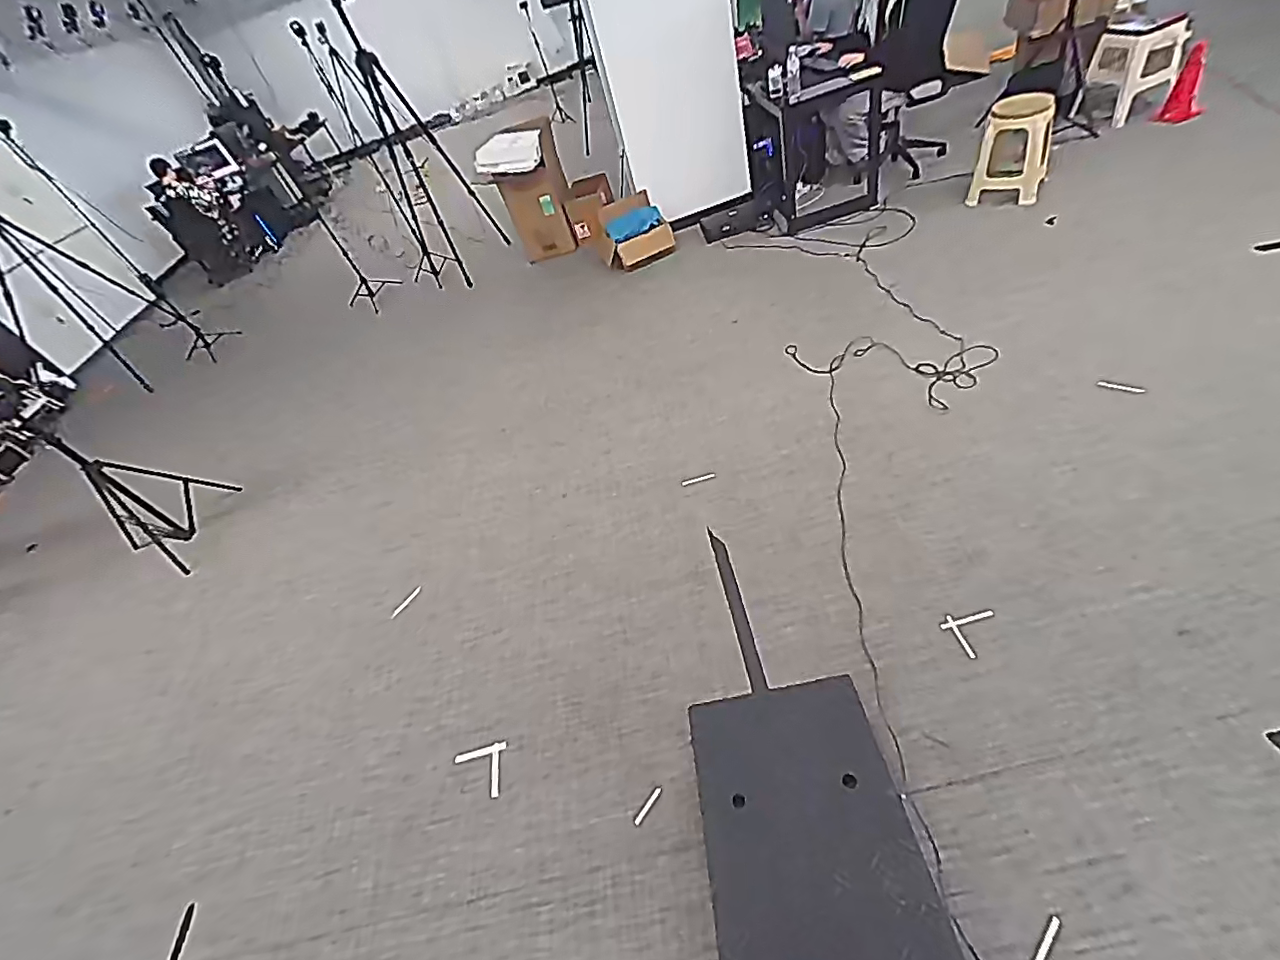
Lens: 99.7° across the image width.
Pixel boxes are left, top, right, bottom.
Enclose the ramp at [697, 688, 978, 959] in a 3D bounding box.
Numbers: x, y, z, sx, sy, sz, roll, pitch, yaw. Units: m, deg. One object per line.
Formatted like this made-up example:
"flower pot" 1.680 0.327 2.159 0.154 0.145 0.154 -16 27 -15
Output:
"ramp" 0.429 0.950 1.197 0.509 0.206 0.991 -18 42 6
